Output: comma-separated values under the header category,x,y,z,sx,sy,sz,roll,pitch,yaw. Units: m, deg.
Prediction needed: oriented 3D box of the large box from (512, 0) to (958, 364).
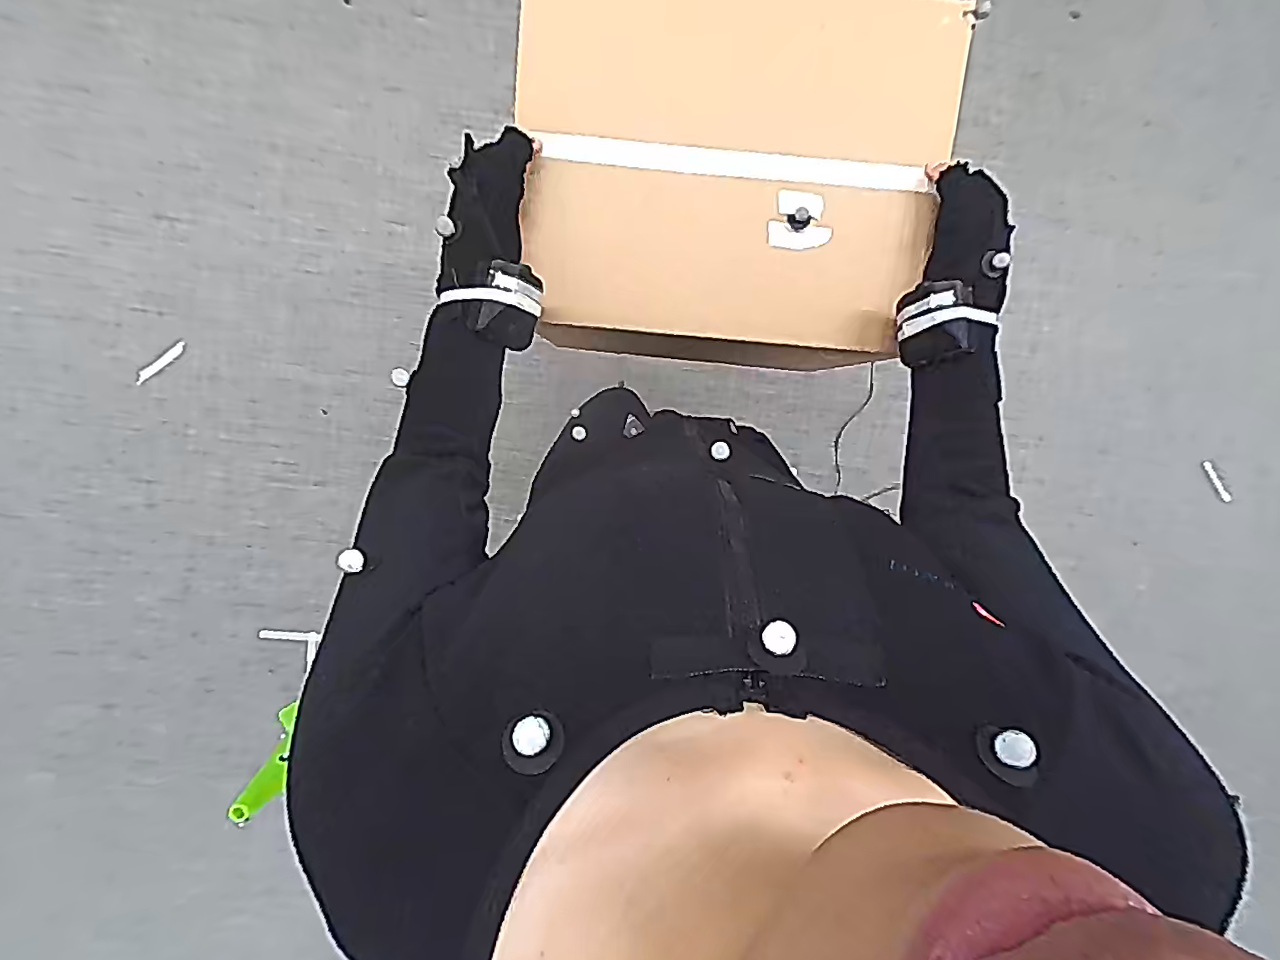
category,x,y,z,sx,sy,sz,roll,pitch,yaw
large box,0.079,-0.321,0.653,0.408,0.320,0.320,5,99,-2

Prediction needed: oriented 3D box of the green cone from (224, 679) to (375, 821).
category,x,y,z,sx,sy,sz,roll,pitch,yaw
green cone,-0.849,0.676,1.306,0.202,0.368,0.200,-31,94,2
